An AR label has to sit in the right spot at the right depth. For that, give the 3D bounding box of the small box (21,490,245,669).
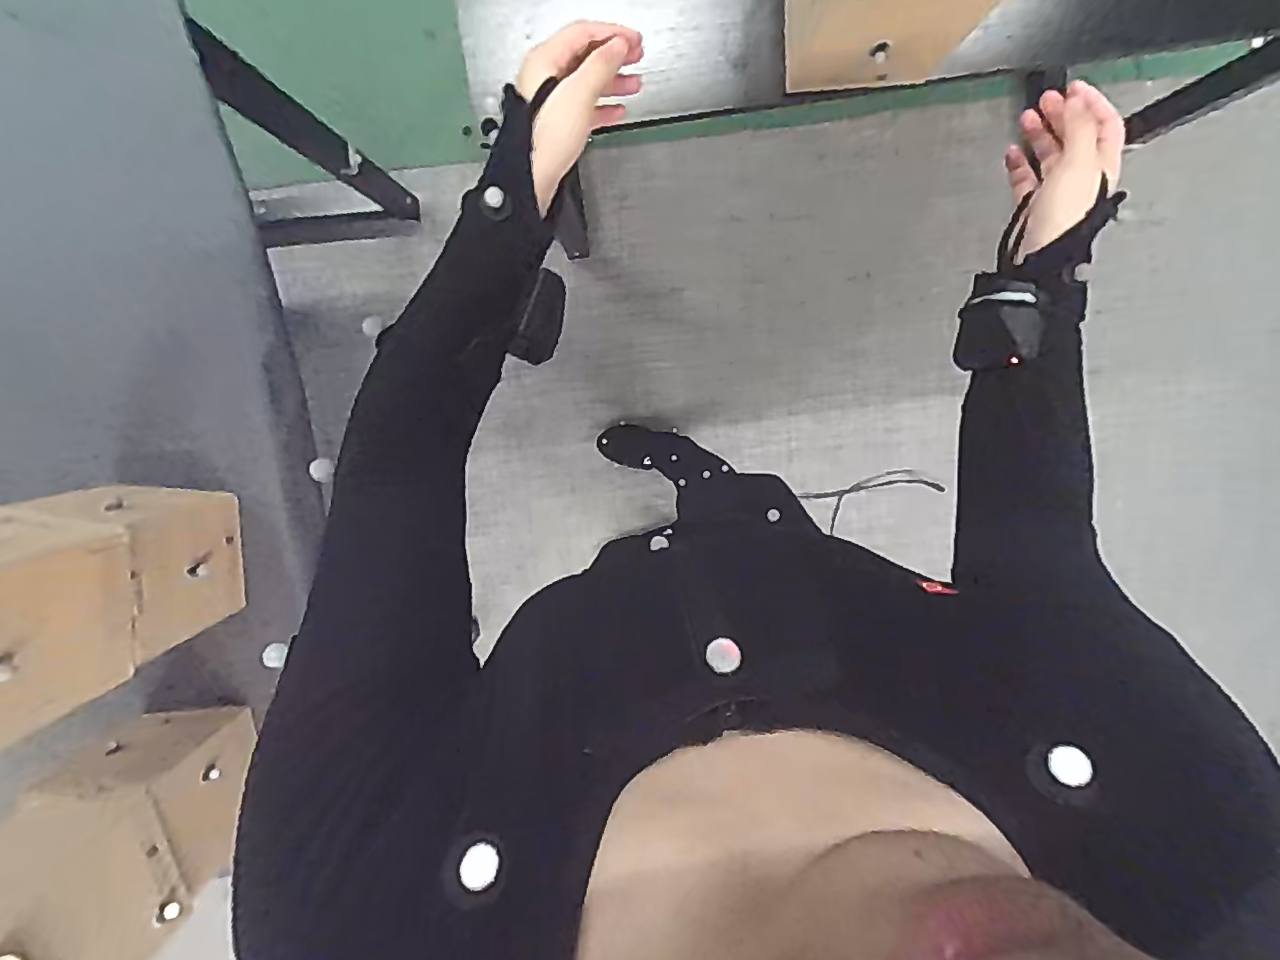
[{"bbox_3d":[-0.626,0.111,0.667,0.179,0.176,0.168,3,101,0],"label":"small box"}]

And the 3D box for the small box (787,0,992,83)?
[{"bbox_3d":[0.251,-0.531,0.541,0.168,0.176,0.179,-4,101,0],"label":"small box"}]

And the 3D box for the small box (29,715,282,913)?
[{"bbox_3d":[-0.629,0.438,0.729,0.168,0.176,0.179,-7,101,4],"label":"small box"}]
